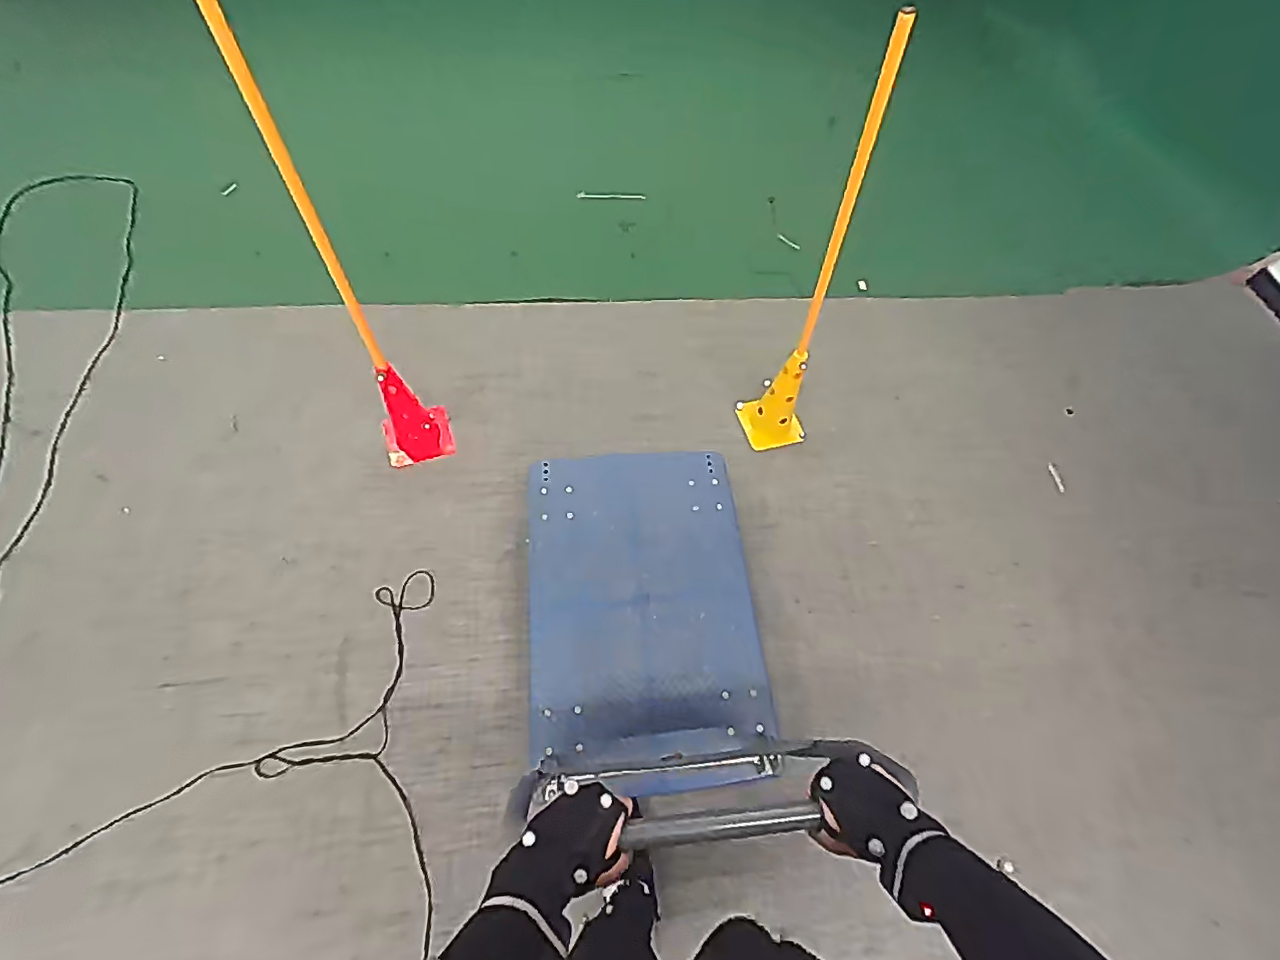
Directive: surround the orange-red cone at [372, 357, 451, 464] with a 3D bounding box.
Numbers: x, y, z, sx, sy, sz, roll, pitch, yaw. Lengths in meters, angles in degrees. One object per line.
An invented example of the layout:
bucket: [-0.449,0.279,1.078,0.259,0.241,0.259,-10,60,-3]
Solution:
orange-red cone: [-0.715,-0.232,1.609,0.199,0.360,0.198,-16,64,-11]
